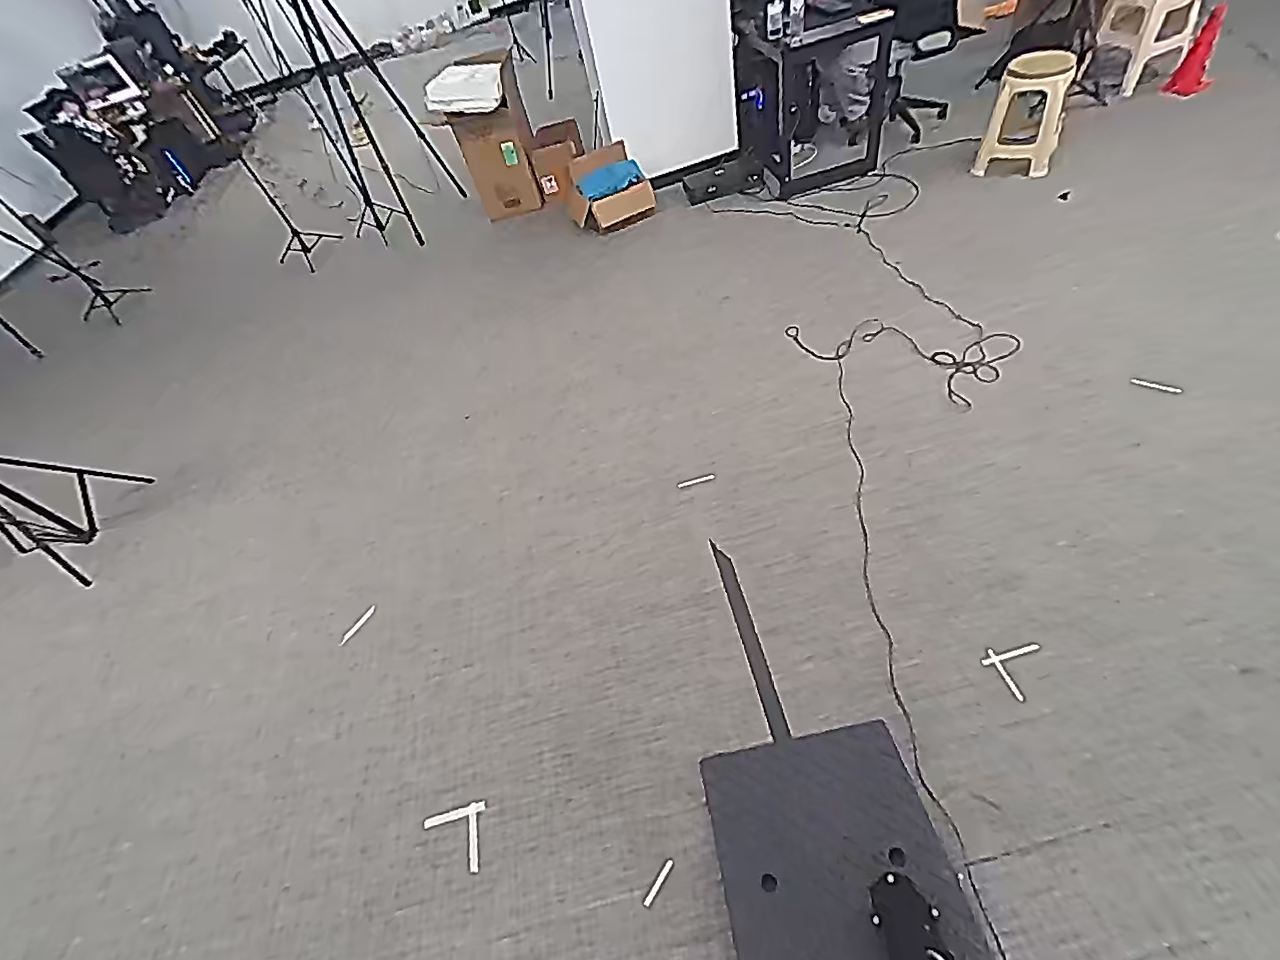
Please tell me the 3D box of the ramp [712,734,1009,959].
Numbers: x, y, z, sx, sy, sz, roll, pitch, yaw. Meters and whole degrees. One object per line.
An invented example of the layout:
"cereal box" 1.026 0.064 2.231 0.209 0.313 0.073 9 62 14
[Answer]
"ramp" 0.478 1.017 1.012 0.509 0.206 0.991 -18 47 3
